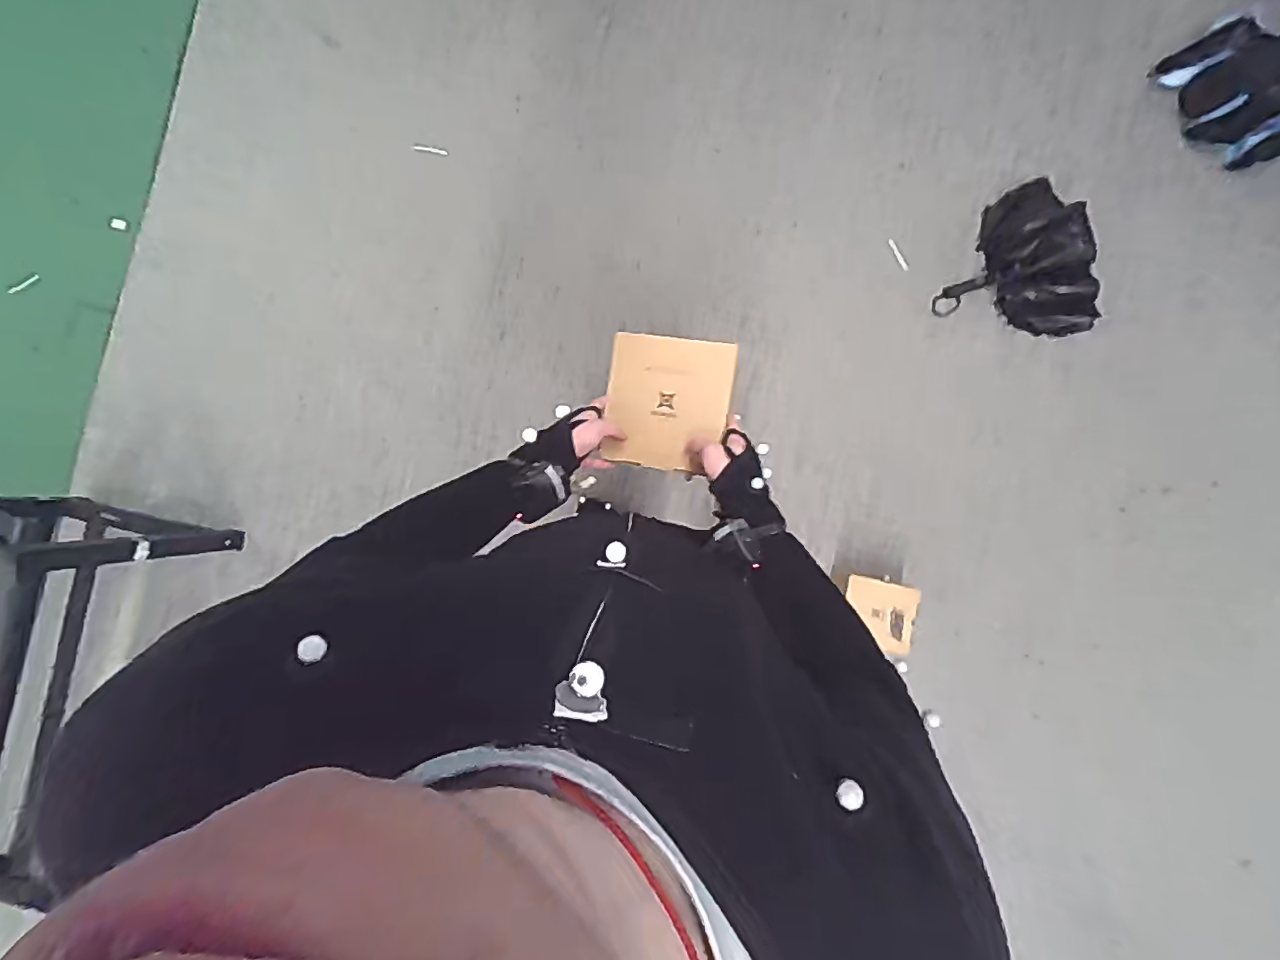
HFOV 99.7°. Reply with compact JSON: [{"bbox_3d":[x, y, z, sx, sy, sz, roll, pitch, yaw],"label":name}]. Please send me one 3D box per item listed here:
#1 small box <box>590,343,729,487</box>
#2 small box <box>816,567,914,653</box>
[{"bbox_3d":[0.037,-0.094,0.798,0.168,0.176,0.179,9,96,11],"label":"small box"},{"bbox_3d":[0.588,0.335,1.431,0.179,0.176,0.168,13,90,5],"label":"small box"}]
